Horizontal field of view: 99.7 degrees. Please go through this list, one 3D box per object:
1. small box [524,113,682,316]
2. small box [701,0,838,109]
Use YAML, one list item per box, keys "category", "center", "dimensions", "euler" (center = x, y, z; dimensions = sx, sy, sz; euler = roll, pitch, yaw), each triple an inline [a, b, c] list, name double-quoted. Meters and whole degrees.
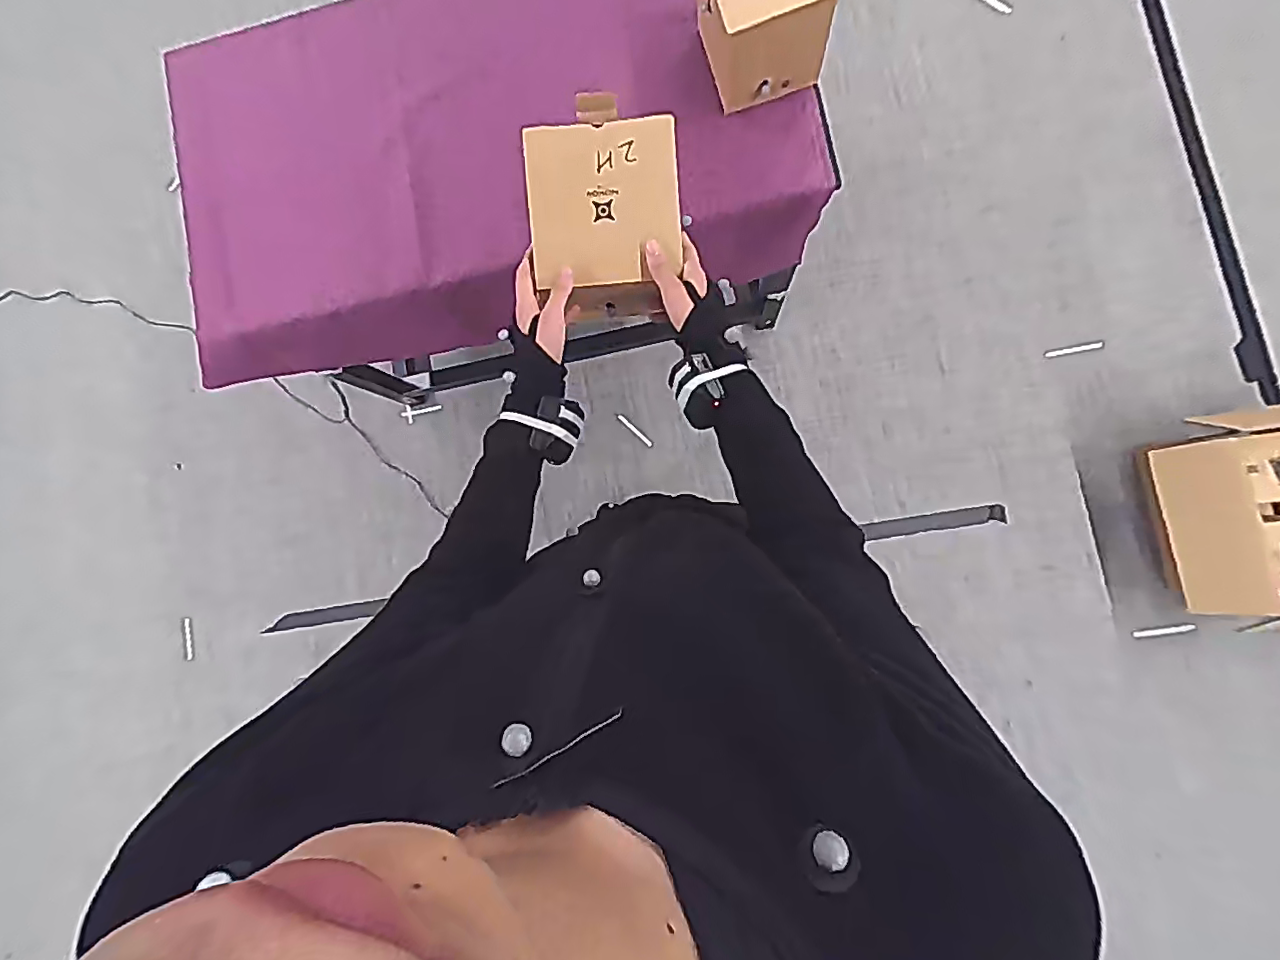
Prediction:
- category: "small box"
  center: [-0.037, -0.306, 0.663]
  dimensions: [0.168, 0.176, 0.179]
  euler: [-4, 93, 1]
- category: "small box"
  center: [0.192, -0.742, 0.850]
  dimensions: [0.168, 0.176, 0.179]
  euler: [-15, 85, 7]
